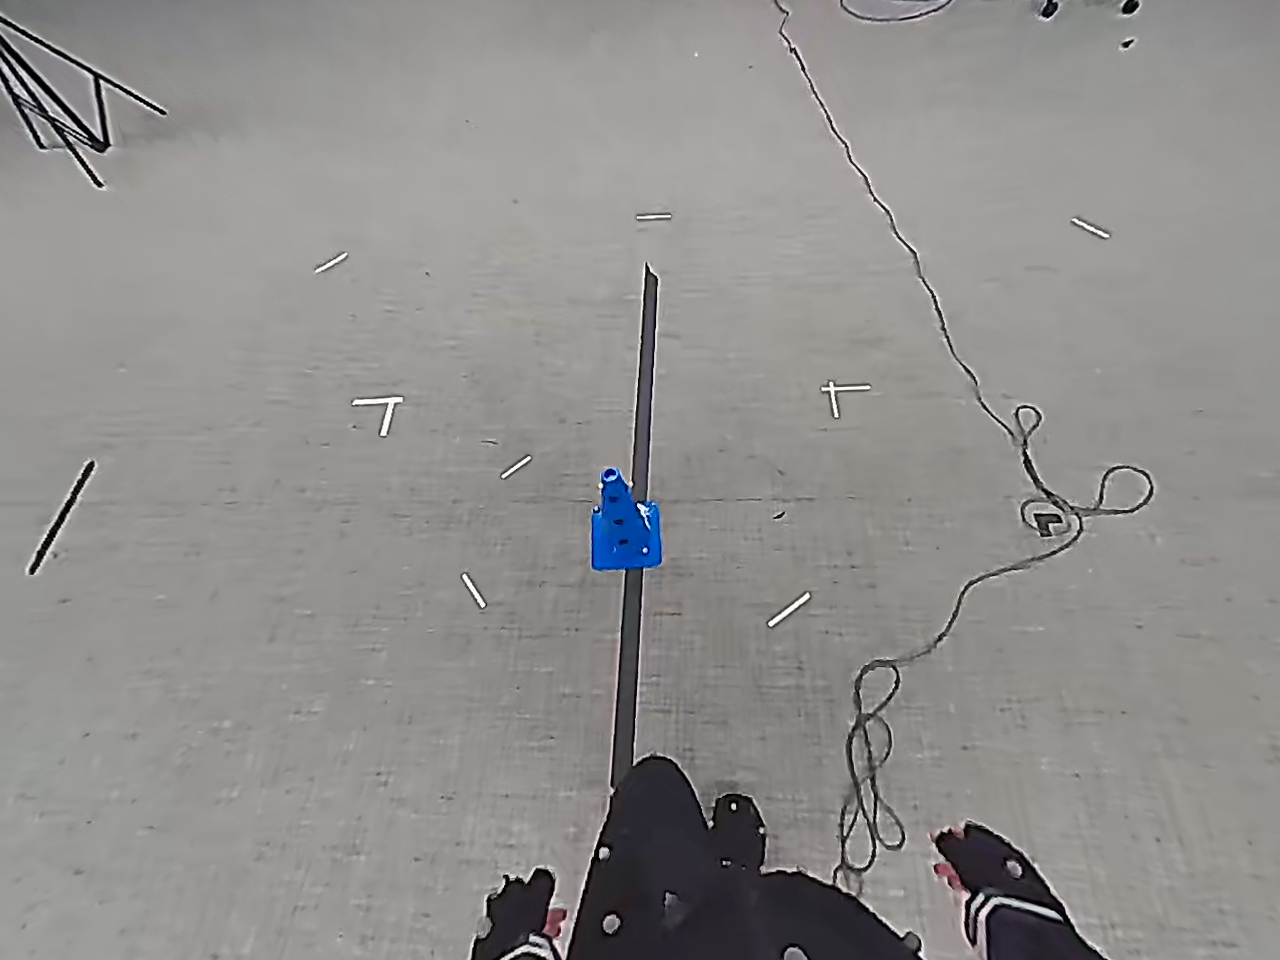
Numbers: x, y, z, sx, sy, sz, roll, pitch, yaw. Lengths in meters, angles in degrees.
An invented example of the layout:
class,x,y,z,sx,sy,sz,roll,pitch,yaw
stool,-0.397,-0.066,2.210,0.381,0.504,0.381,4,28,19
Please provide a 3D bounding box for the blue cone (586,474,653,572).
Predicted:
class,x,y,z,sx,sy,sz,roll,pitch,yaw
blue cone,-0.073,0.087,1.400,0.192,0.380,0.193,-4,61,4
